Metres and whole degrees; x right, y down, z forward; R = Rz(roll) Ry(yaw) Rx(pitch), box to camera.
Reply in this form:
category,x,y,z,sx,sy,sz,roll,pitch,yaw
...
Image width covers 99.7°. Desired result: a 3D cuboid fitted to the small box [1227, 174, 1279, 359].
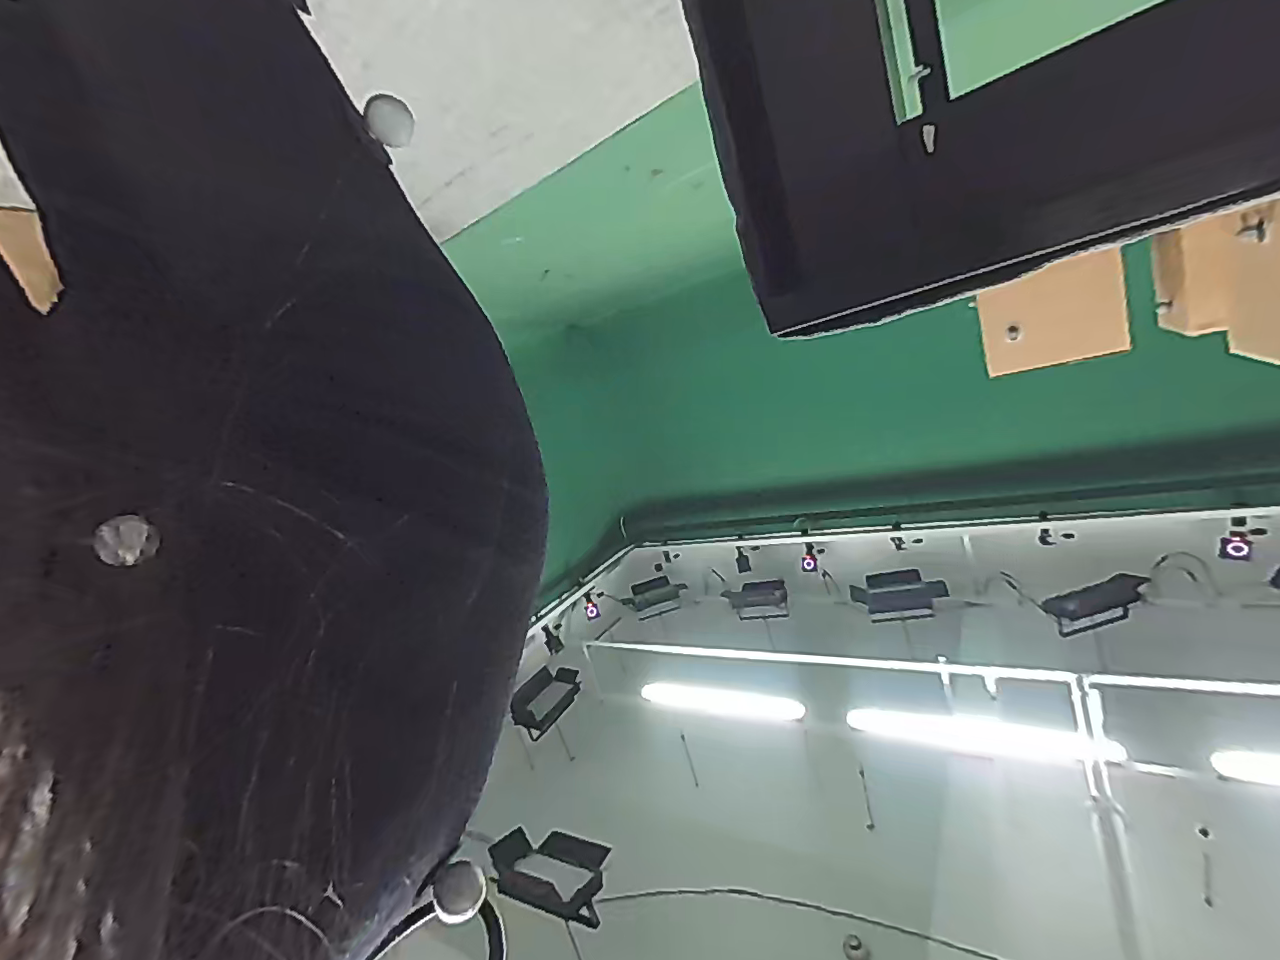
category,x,y,z,sx,sy,sz,roll,pitch,yaw
small box,0.674,-0.212,0.476,0.179,0.176,0.168,-8,-167,32

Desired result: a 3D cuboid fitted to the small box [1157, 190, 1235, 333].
category,x,y,z,sx,sy,sz,roll,pitch,yaw
small box,0.838,-0.311,0.738,0.168,0.176,0.179,-8,-167,36
